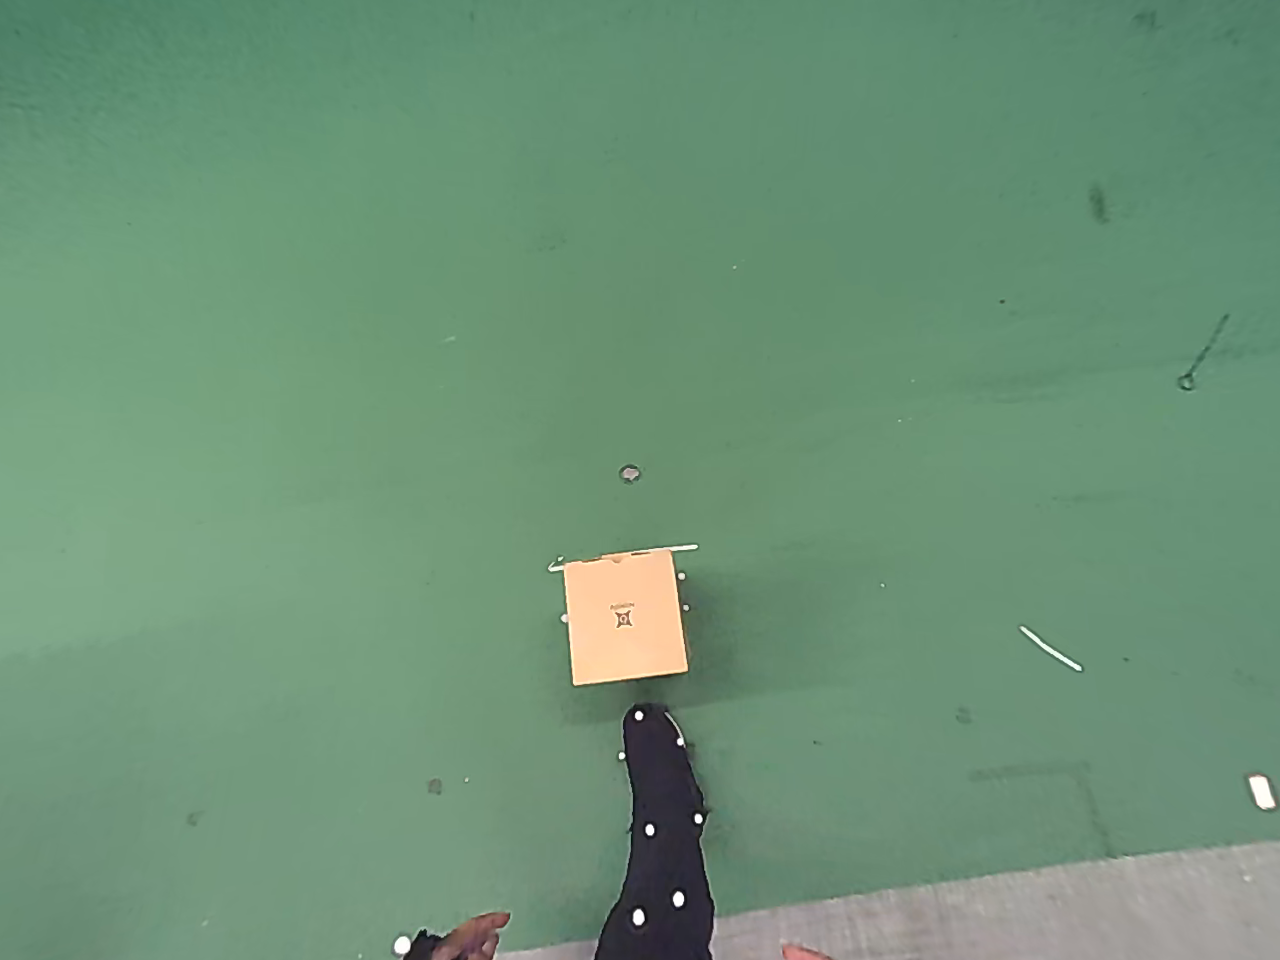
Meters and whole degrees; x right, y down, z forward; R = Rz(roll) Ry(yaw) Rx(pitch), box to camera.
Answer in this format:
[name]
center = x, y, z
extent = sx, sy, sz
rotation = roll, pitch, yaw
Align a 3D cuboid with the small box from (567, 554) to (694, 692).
[small box]
center = -0.009, 0.223, 0.847
extent = 0.168, 0.176, 0.179
rotation = -9, 72, 4
